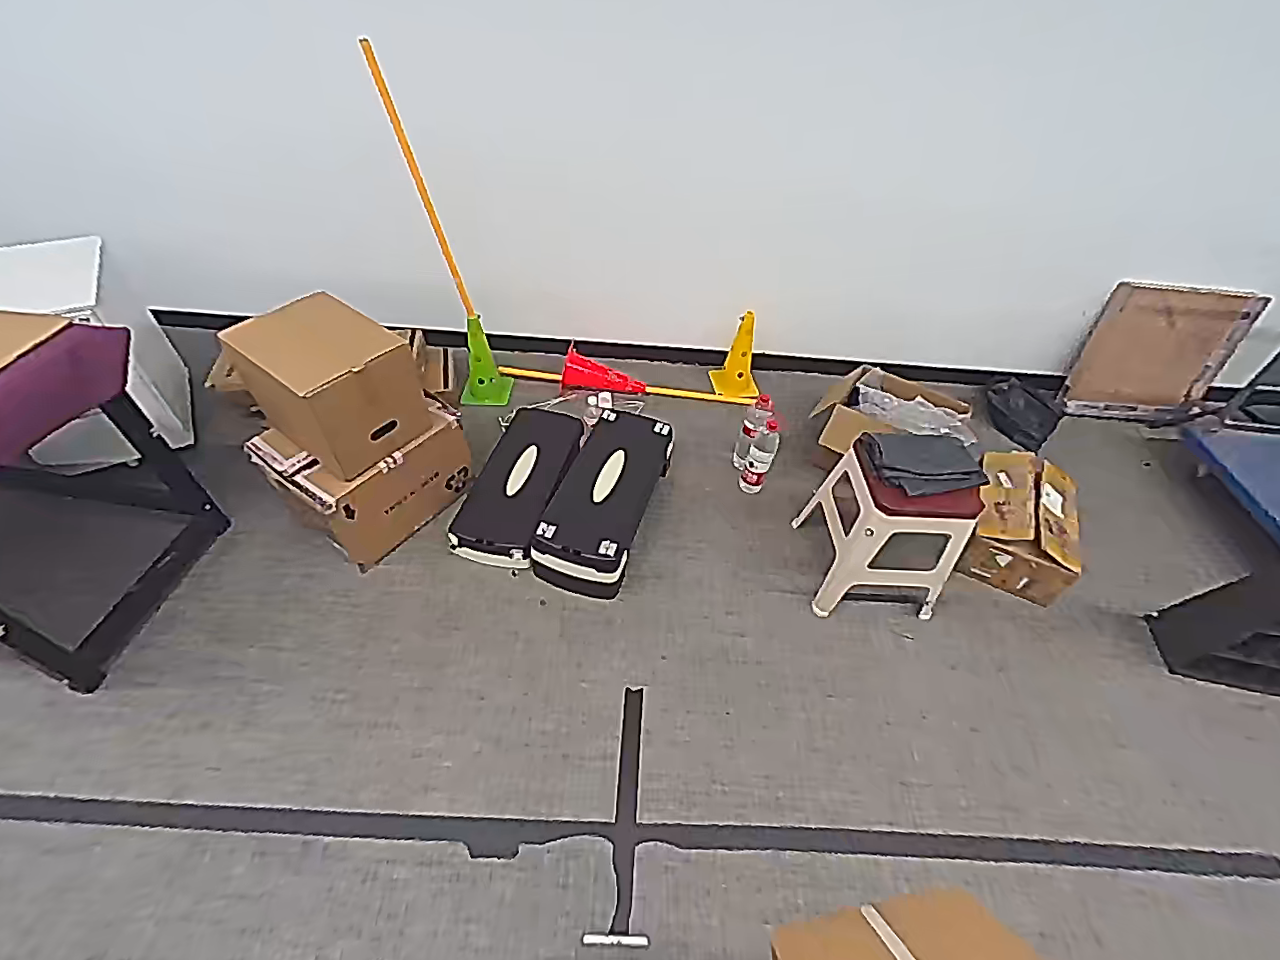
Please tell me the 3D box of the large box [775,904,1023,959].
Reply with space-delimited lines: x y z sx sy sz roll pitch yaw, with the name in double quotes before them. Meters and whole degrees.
"large box" 0.387 0.789 0.603 0.320 0.408 0.320 -8 82 -7
